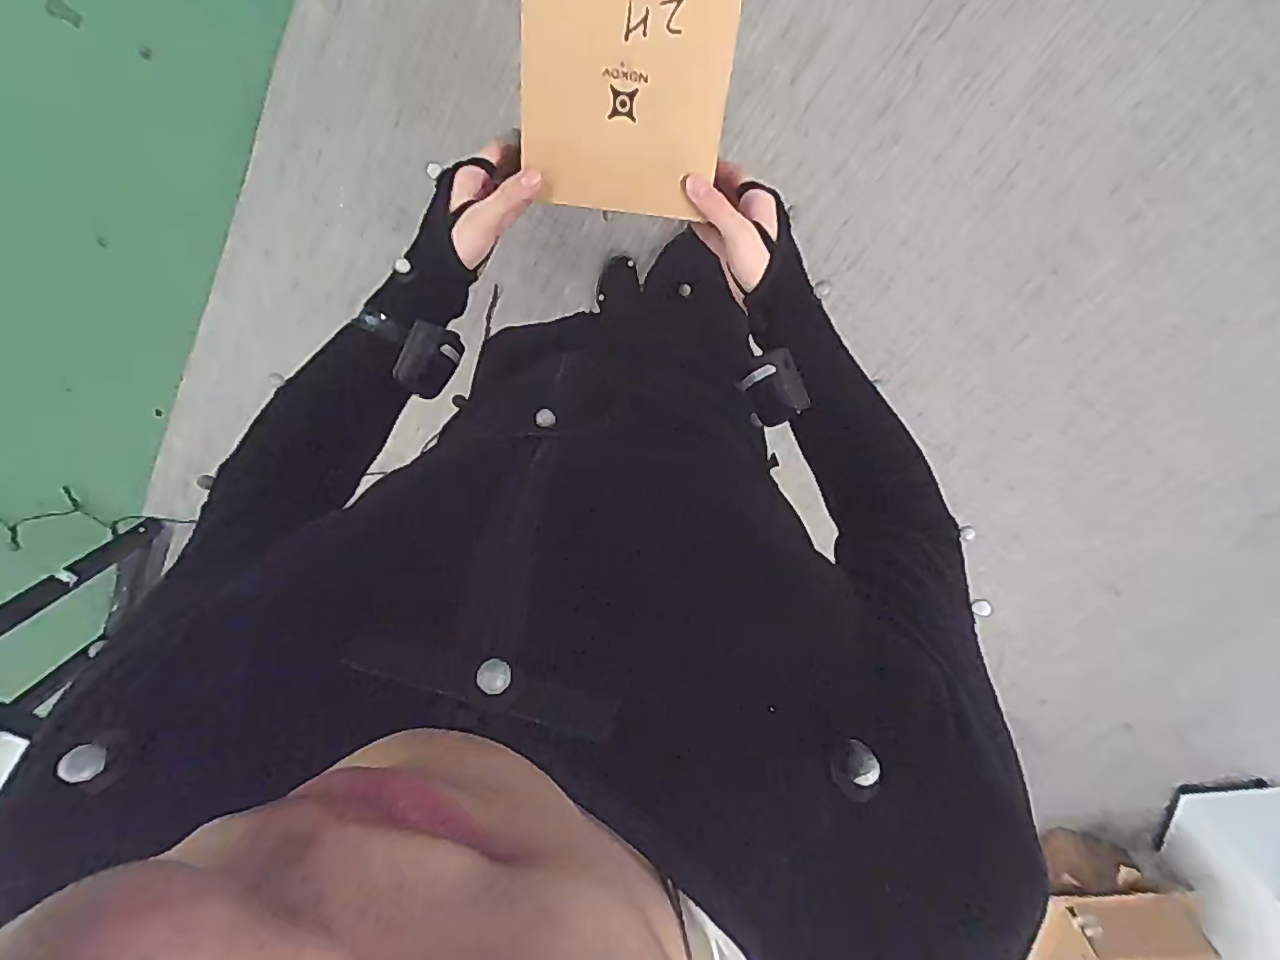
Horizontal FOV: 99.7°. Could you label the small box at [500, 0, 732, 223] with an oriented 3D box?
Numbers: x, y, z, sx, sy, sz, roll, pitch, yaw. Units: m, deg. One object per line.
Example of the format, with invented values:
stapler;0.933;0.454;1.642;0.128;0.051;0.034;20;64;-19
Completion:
small box;-0.027;-0.345;0.481;0.168;0.176;0.179;5;121;-7
